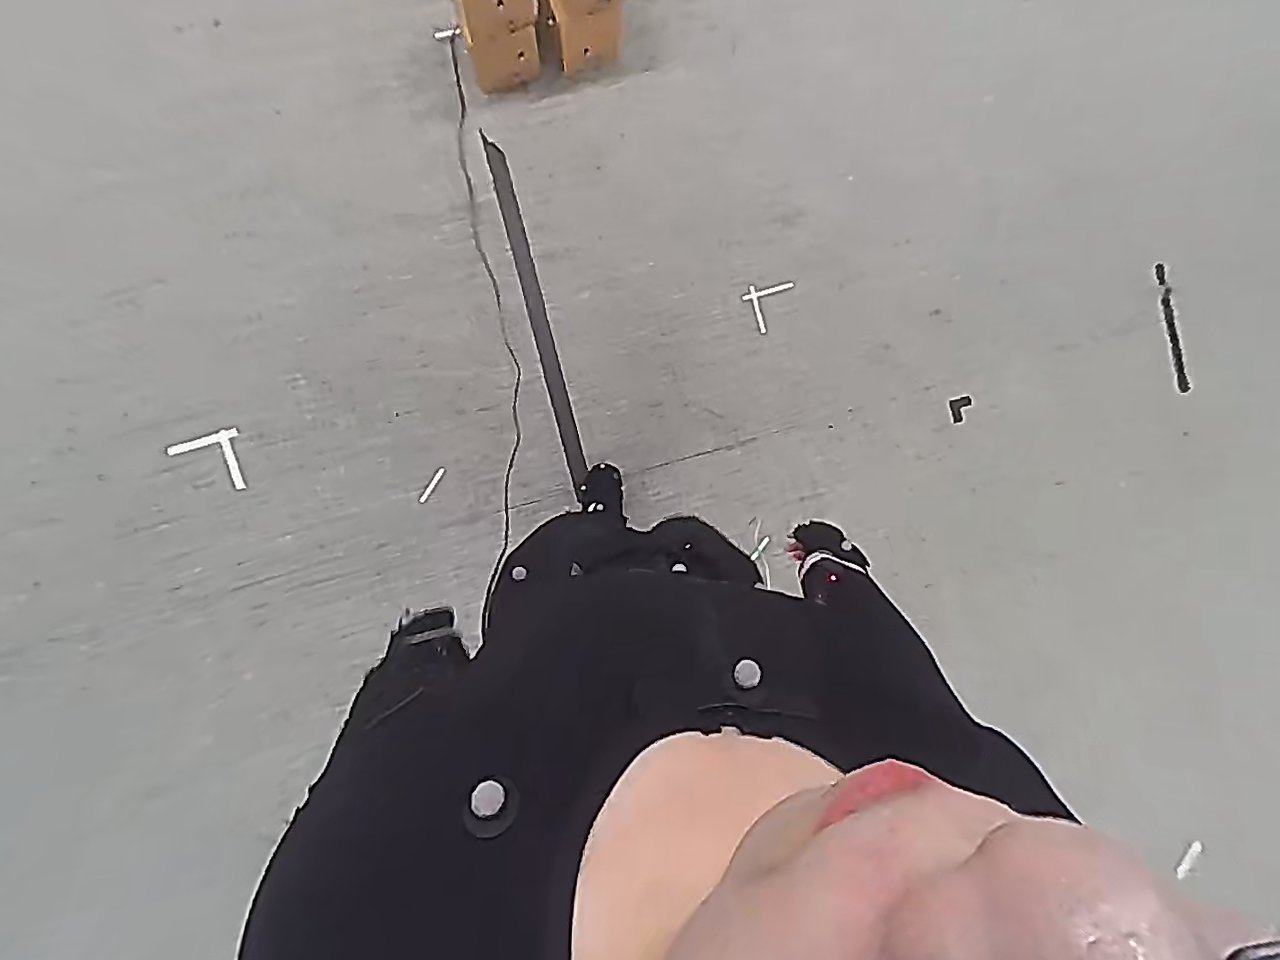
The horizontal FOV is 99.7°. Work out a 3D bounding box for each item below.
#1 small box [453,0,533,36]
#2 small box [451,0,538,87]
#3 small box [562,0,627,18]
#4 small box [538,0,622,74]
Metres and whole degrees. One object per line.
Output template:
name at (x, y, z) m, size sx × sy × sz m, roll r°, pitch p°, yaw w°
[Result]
small box at (-0.352, -1.149, 1.210) m, size 0.168 × 0.176 × 0.179 m, roll -24°, pitch 93°, yaw -5°
small box at (-0.367, -1.144, 1.374) m, size 0.168 × 0.176 × 0.179 m, roll -21°, pitch 92°, yaw -6°
small box at (-0.122, -1.221, 1.231) m, size 0.168 × 0.176 × 0.179 m, roll -23°, pitch 94°, yaw -5°
small box at (-0.160, -1.210, 1.392) m, size 0.168 × 0.176 × 0.179 m, roll -24°, pitch 93°, yaw -5°
